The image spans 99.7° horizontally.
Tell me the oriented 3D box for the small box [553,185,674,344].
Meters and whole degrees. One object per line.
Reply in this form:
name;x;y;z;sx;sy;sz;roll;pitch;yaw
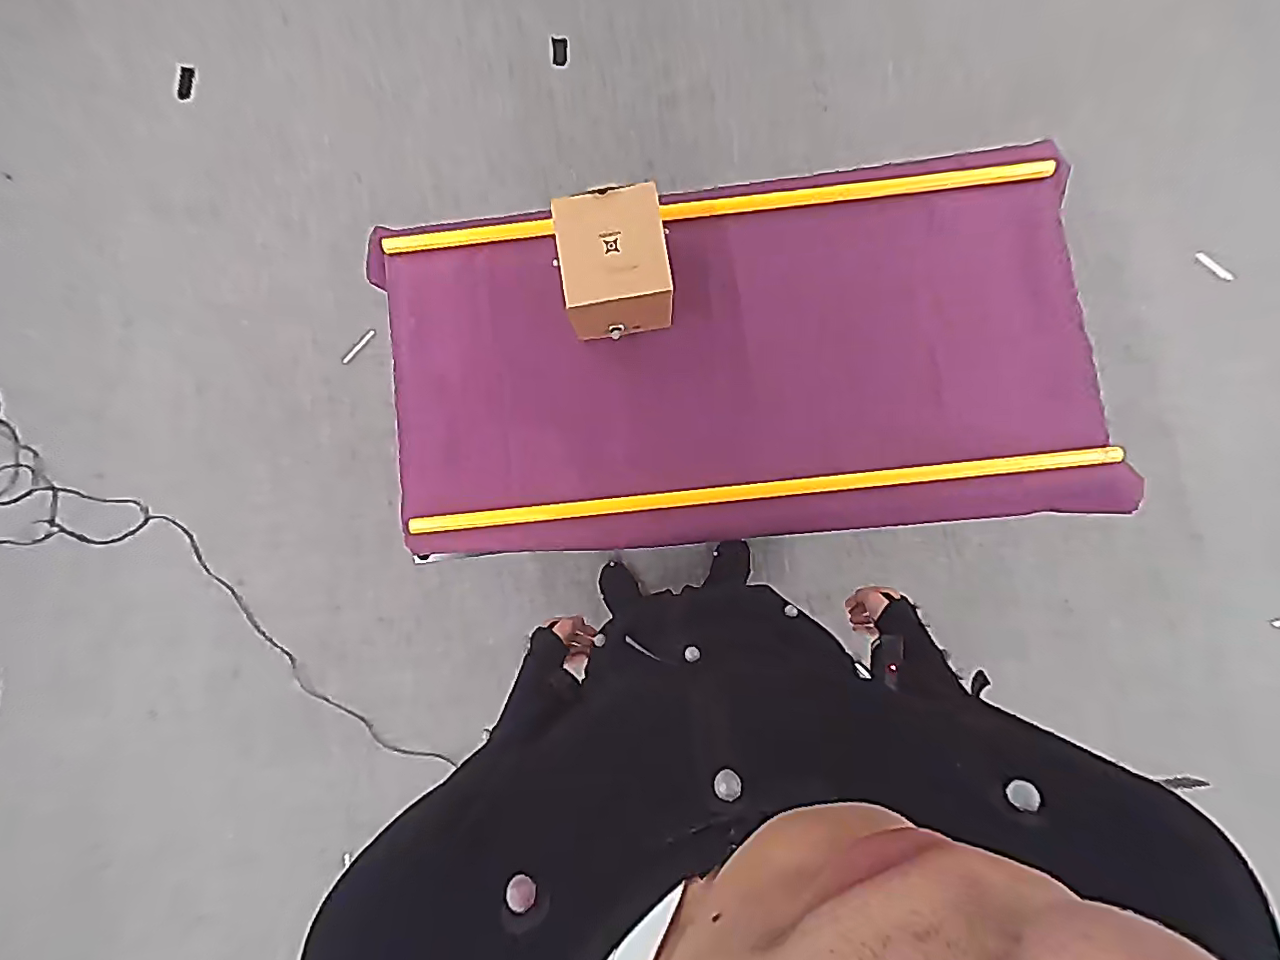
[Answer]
small box;-0.040;-0.346;0.895;0.168;0.176;0.179;-9;85;1
